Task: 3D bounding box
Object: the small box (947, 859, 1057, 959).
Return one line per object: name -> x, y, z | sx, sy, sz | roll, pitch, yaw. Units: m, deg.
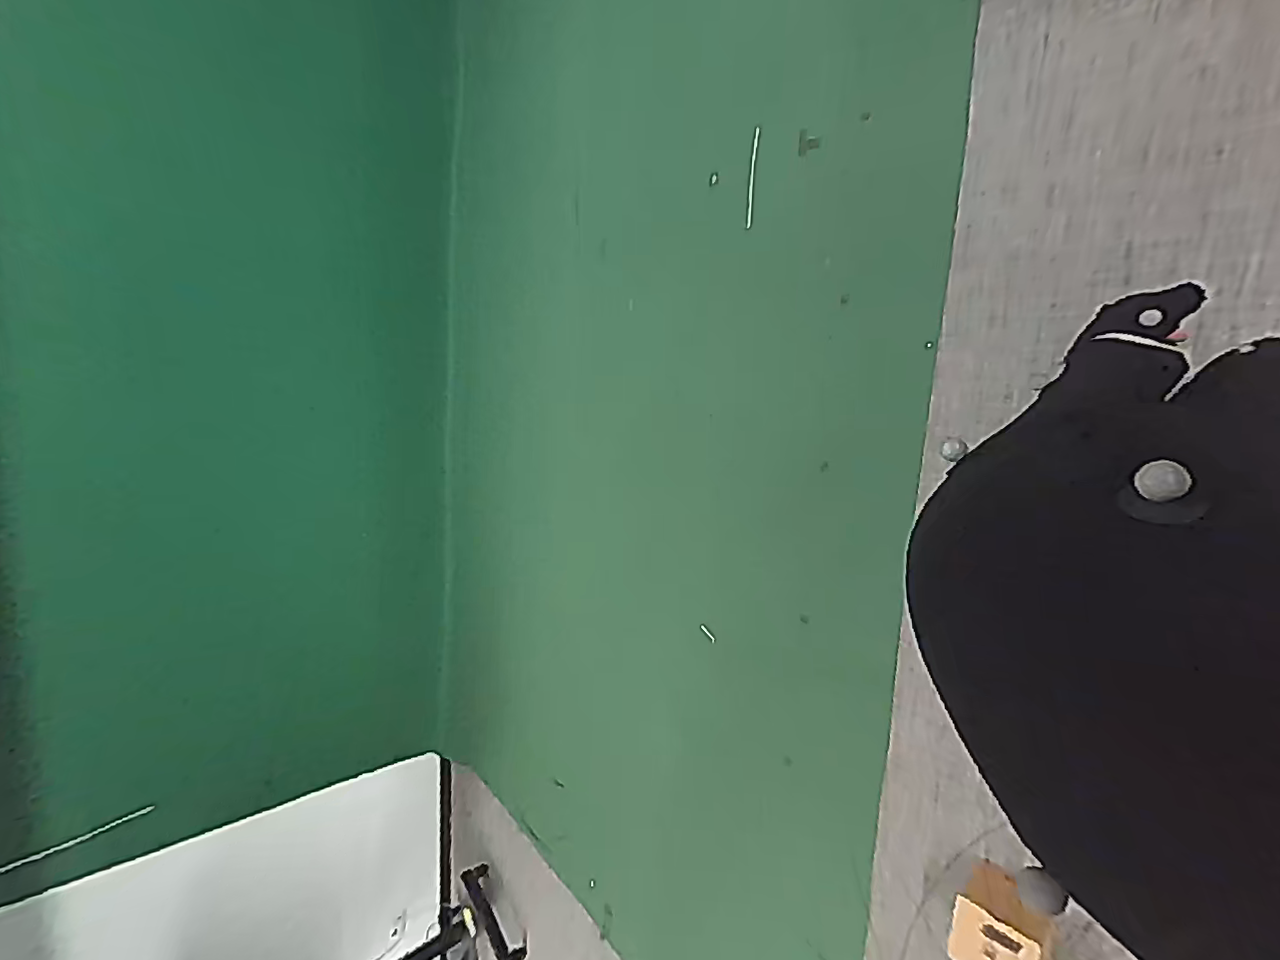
small box -> 0.856, 1.053, 1.274 | 0.168, 0.176, 0.179 | 14, 104, 47
